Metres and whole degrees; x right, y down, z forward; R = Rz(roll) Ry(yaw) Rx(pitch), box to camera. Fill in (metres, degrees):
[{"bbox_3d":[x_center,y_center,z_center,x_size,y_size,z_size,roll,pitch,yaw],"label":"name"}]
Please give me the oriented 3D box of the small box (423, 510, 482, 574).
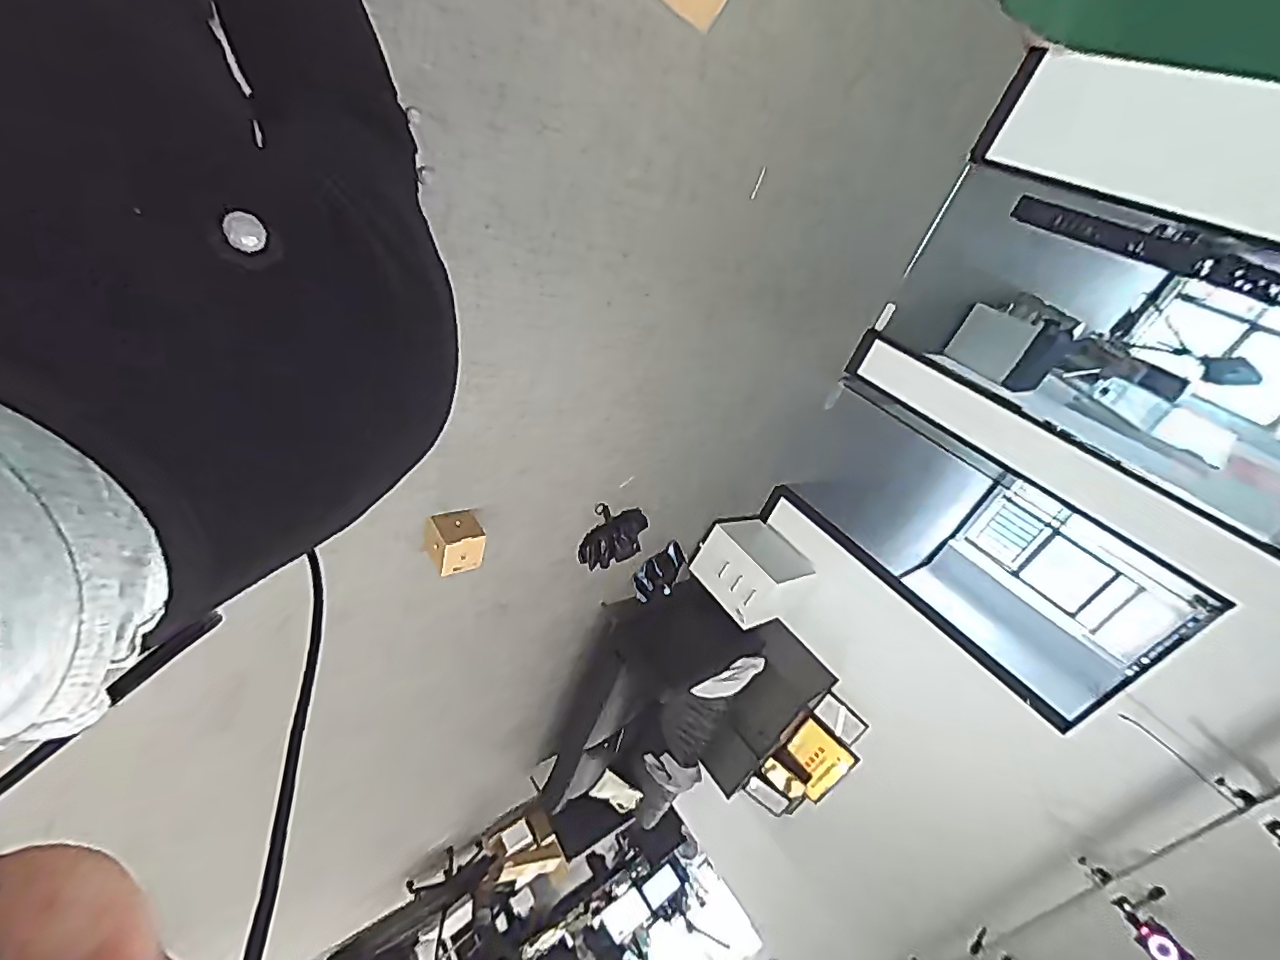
[{"bbox_3d":[-0.749,0.237,2.149,0.168,0.176,0.179,-12,135,-40],"label":"small box"}]
